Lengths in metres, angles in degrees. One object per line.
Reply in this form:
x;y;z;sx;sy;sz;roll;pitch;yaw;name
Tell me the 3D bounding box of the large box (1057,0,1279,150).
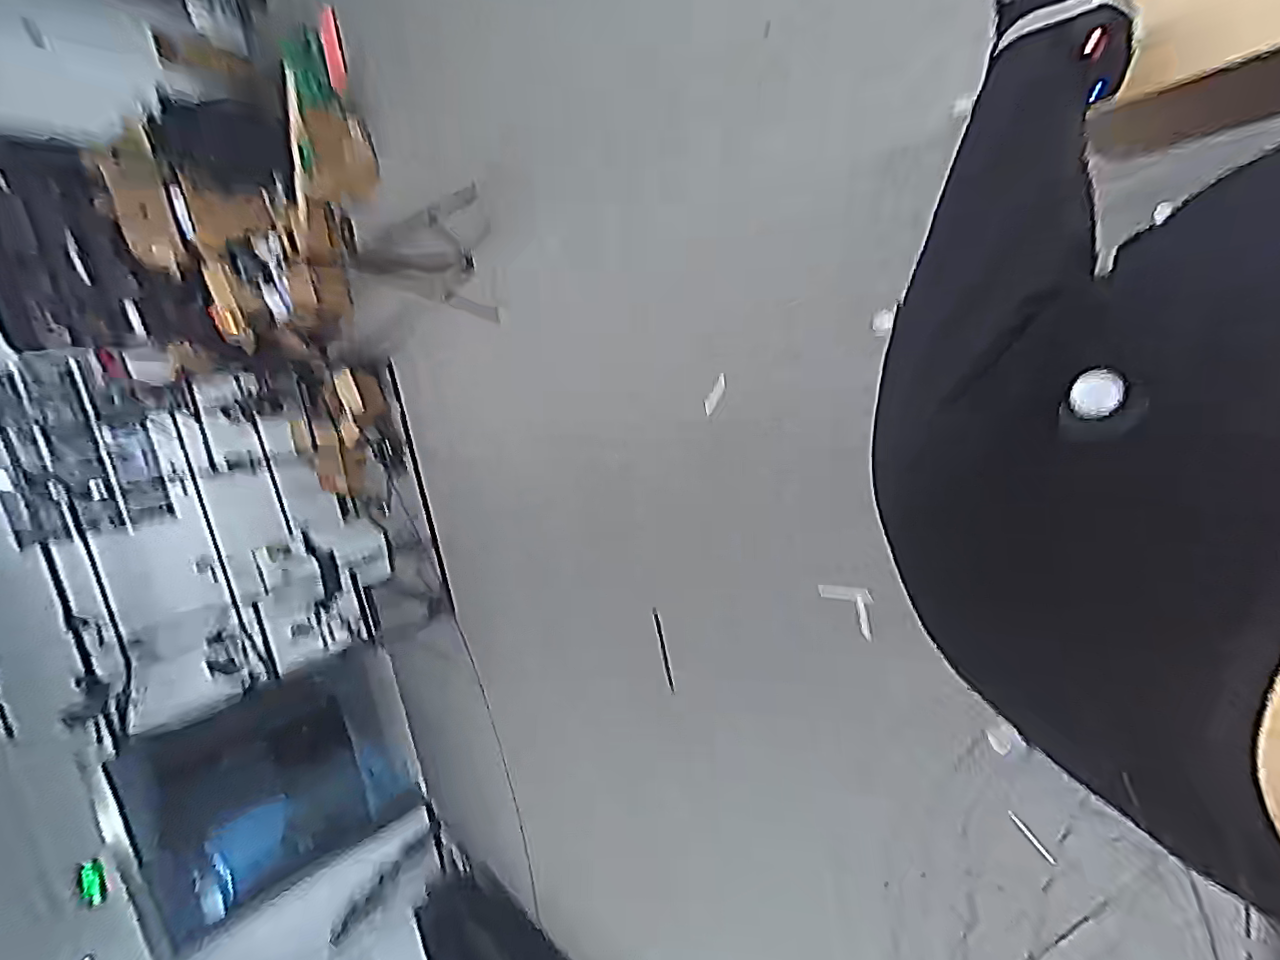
0.595;-0.505;0.403;0.408;0.320;0.320;5;108;47;large box
